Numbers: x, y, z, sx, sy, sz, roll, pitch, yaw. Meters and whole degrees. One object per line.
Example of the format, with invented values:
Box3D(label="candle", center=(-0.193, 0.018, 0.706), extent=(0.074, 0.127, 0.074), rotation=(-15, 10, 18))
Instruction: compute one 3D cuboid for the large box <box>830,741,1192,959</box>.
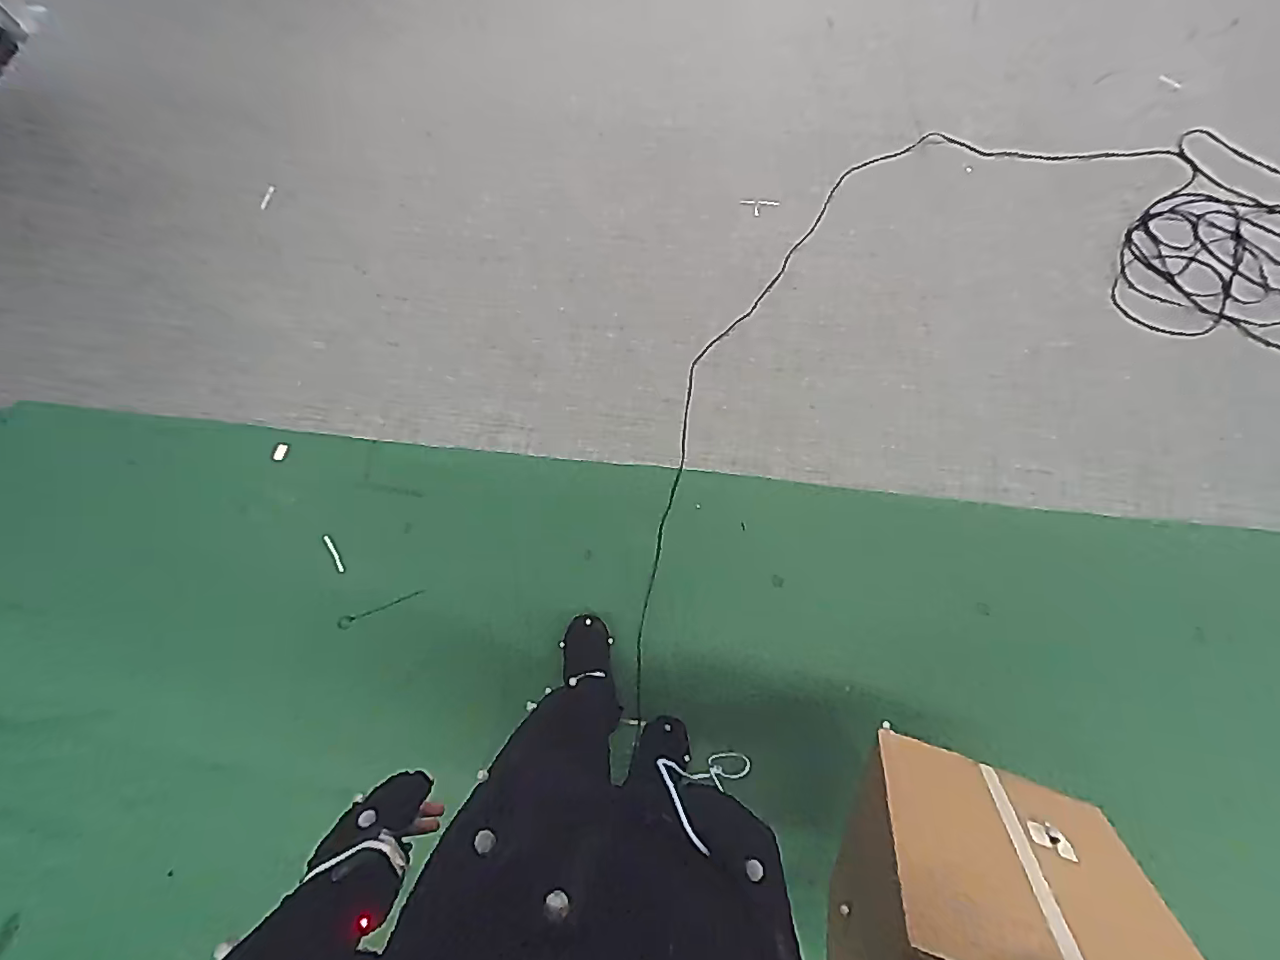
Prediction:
Box3D(label="large box", center=(0.432, 0.621, 0.673), extent=(0.320, 0.408, 0.320), rotation=(16, 99, 17))
